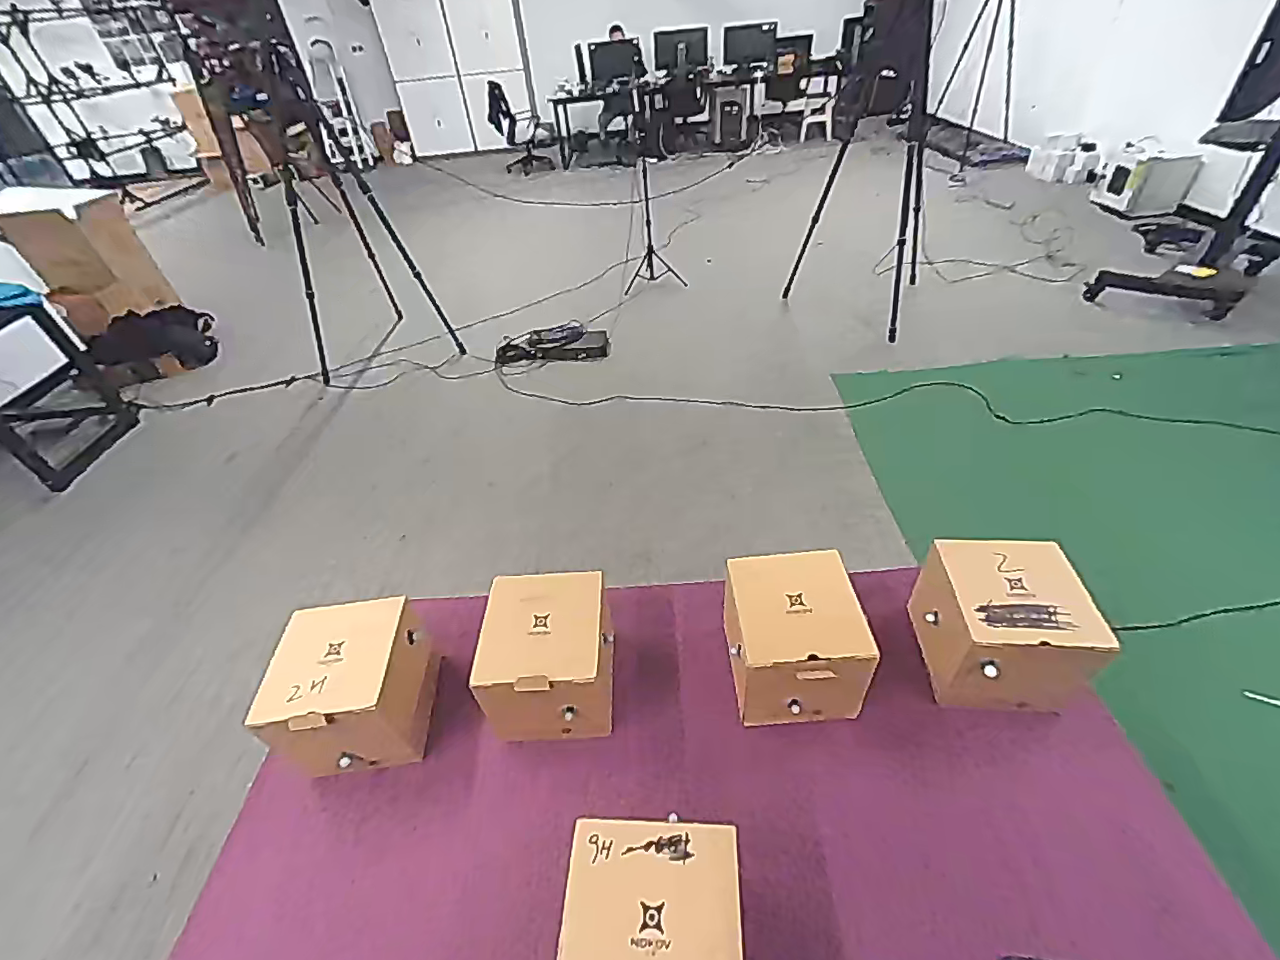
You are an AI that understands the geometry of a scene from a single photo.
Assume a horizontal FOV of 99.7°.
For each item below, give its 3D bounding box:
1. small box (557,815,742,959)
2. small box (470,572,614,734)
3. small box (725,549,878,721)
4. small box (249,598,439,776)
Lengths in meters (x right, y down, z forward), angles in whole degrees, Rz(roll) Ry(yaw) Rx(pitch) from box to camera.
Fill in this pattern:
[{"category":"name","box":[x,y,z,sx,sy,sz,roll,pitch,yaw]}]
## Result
[{"category":"small box","box":[0.017,0.464,0.543,0.168,0.176,0.179,-1,42,6]},{"category":"small box","box":[-0.129,0.259,0.797,0.168,0.176,0.179,-3,41,2]},{"category":"small box","box":[0.218,0.225,0.787,0.168,0.176,0.179,-6,42,2]},{"category":"small box","box":[-0.408,0.299,0.787,0.168,0.176,0.179,-8,42,-1]}]
